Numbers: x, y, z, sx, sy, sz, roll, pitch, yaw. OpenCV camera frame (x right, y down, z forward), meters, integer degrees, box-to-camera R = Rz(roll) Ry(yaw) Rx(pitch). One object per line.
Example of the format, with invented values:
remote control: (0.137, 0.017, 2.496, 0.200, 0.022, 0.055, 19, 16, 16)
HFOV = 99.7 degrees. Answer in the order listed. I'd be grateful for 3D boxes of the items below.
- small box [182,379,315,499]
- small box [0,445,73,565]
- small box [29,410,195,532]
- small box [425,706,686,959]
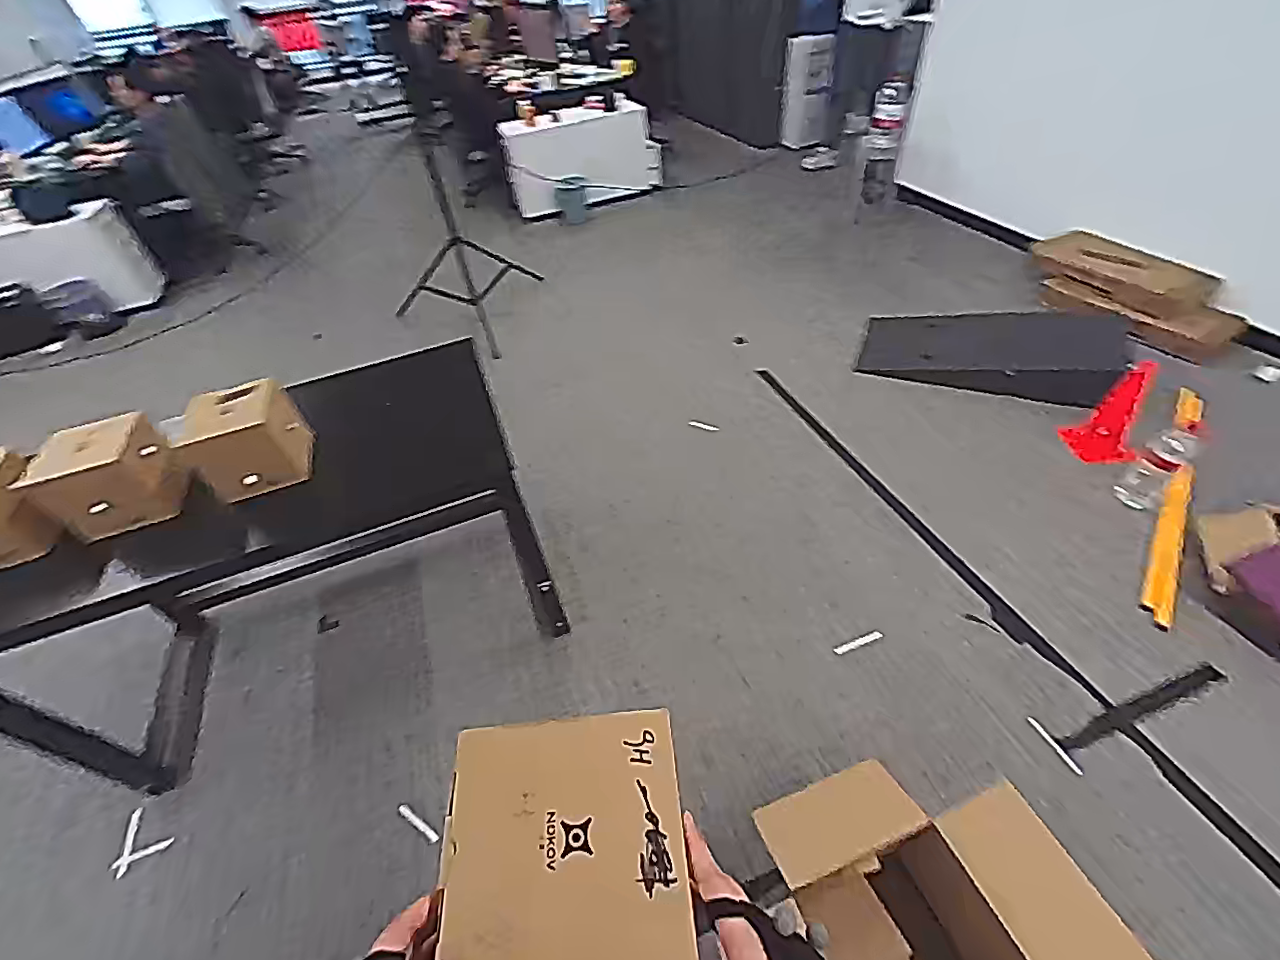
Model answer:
small box: (-0.834, -0.089, 1.176, 0.168, 0.176, 0.179, -18, 47, -11)
small box: (-1.308, 0.063, 1.090, 0.168, 0.176, 0.179, -18, 45, -13)
small box: (-1.084, -0.013, 1.132, 0.168, 0.176, 0.179, -18, 46, -11)
small box: (-0.058, 0.308, 0.459, 0.179, 0.176, 0.168, -7, 53, -2)
